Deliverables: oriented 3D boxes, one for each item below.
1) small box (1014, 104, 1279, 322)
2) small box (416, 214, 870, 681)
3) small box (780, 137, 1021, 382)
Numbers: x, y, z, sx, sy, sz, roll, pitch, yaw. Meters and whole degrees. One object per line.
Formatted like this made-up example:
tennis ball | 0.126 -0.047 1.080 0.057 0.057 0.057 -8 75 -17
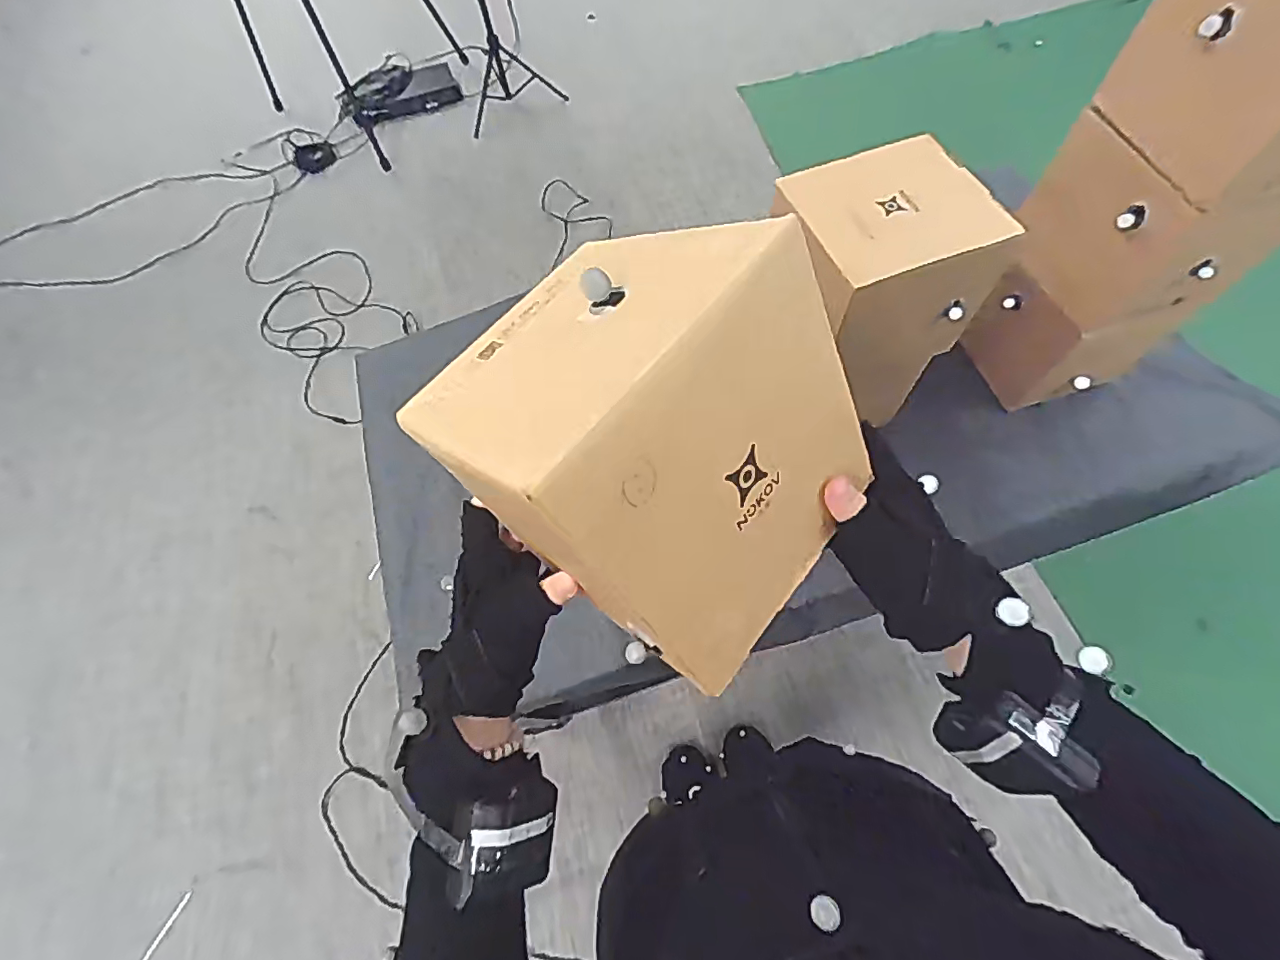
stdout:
small box | 0.566 -0.298 0.600 0.168 0.176 0.179 -15 64 -2
small box | 0.004 -0.023 0.321 0.176 0.179 0.168 23 65 47
small box | 0.252 -0.228 0.596 0.179 0.176 0.168 -19 64 -4
